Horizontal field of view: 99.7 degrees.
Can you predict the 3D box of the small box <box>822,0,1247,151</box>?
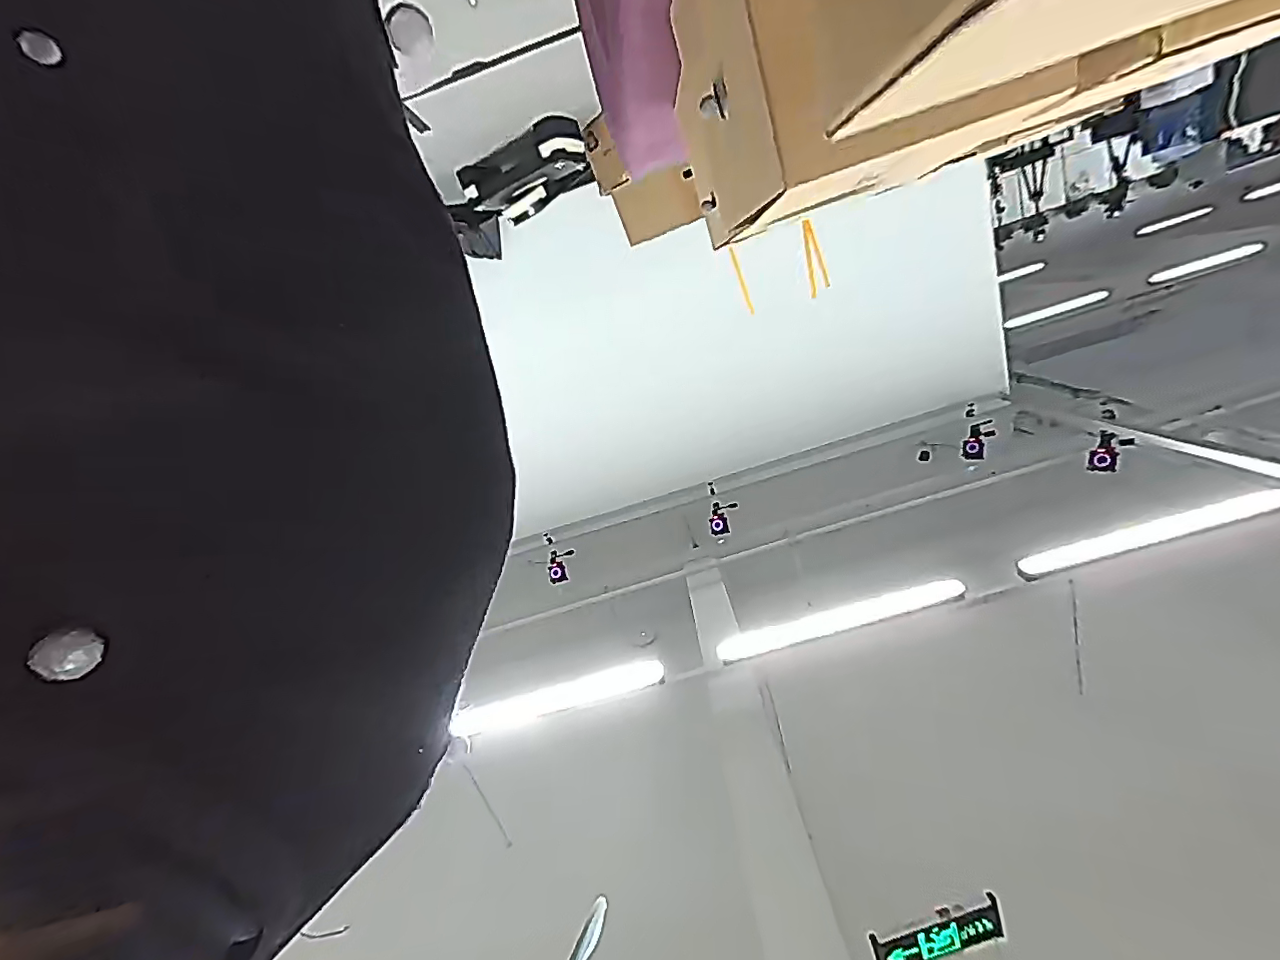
[{"bbox_3d":[0.122,-0.194,0.089,0.168,0.176,0.179,-18,-162,5],"label":"small box"}]
